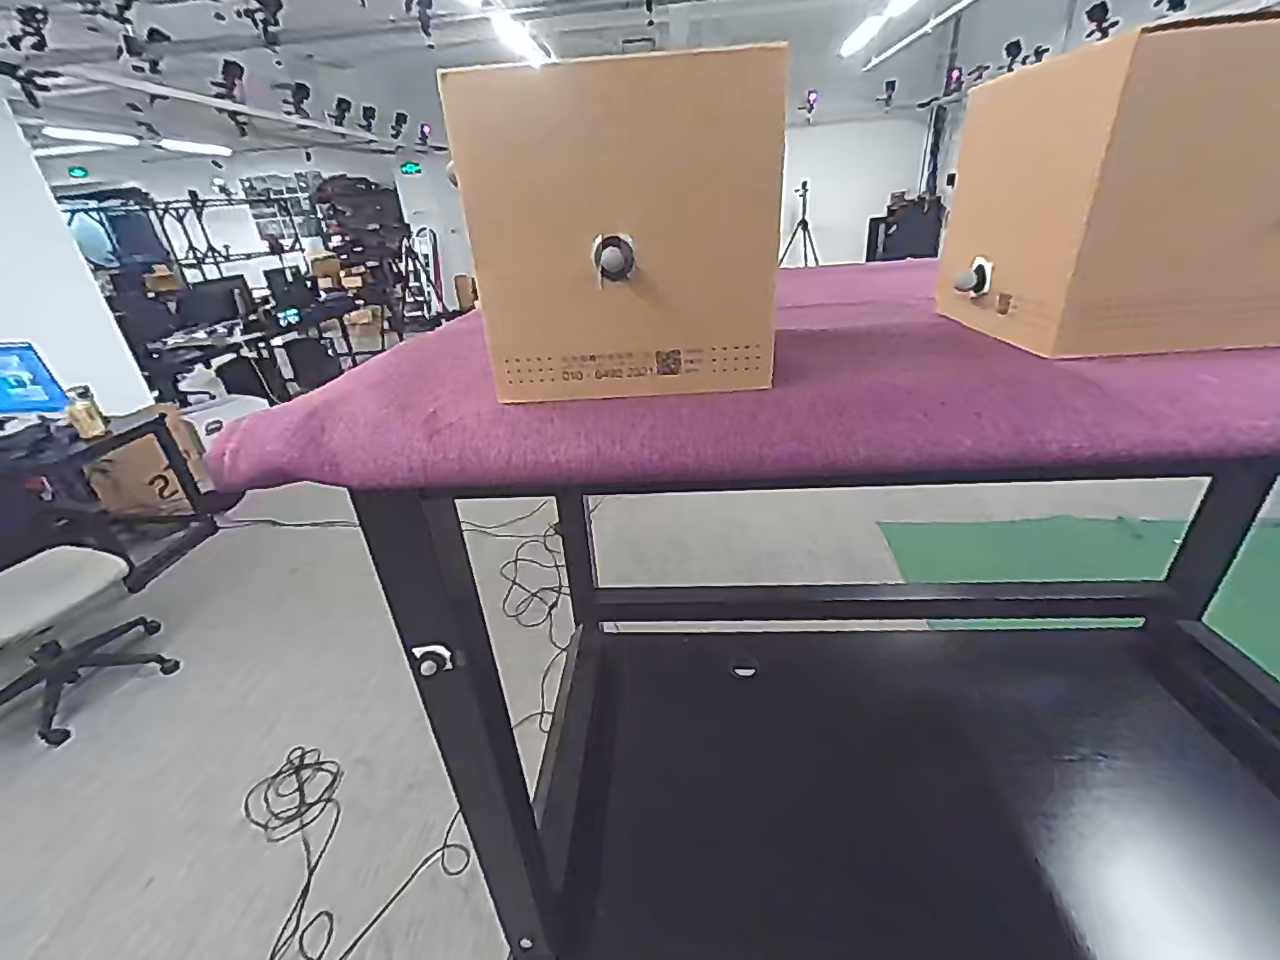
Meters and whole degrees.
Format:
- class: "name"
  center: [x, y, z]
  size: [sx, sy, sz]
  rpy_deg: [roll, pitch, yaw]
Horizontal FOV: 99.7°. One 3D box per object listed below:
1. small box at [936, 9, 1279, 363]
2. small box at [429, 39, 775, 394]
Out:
- class: "small box"
  center: [0.331, -0.184, 0.360]
  size: [0.179, 0.176, 0.168]
  rpy_deg: [-4, 27, 4]
- class: "small box"
  center: [-0.011, -0.159, 0.357]
  size: [0.168, 0.176, 0.179]
  rpy_deg: [-2, 28, 2]
